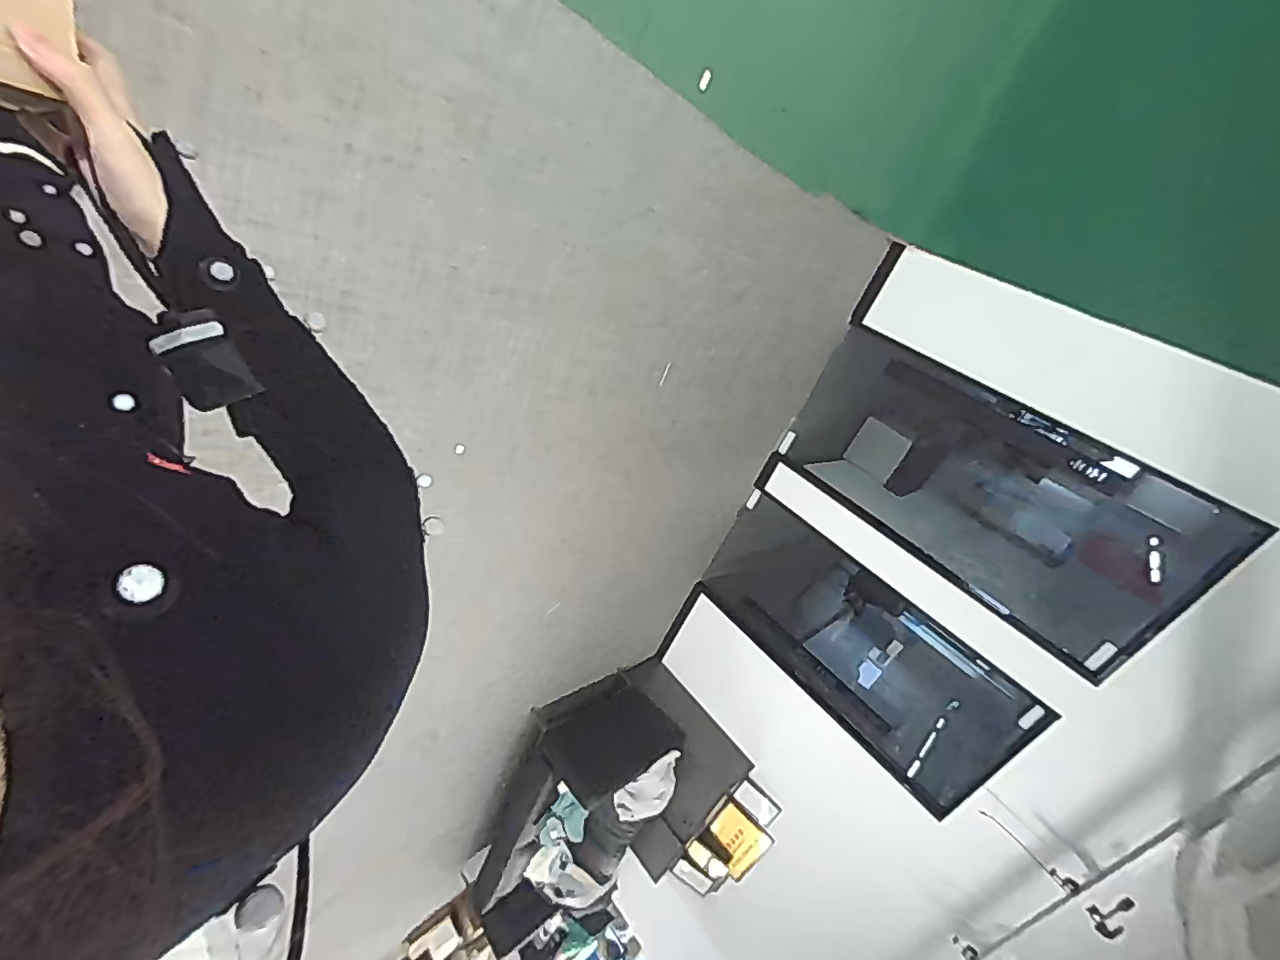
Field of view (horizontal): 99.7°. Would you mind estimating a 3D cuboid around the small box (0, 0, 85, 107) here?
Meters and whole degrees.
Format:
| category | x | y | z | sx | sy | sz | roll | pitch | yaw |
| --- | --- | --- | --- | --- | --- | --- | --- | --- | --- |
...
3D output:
| category | x | y | z | sx | sy | sz | roll | pitch | yaw |
| --- | --- | --- | --- | --- | --- | --- | --- | --- | --- |
| small box | -0.404 | -0.295 | 0.249 | 0.179 | 0.176 | 0.168 | -13 | 121 | -53 |
